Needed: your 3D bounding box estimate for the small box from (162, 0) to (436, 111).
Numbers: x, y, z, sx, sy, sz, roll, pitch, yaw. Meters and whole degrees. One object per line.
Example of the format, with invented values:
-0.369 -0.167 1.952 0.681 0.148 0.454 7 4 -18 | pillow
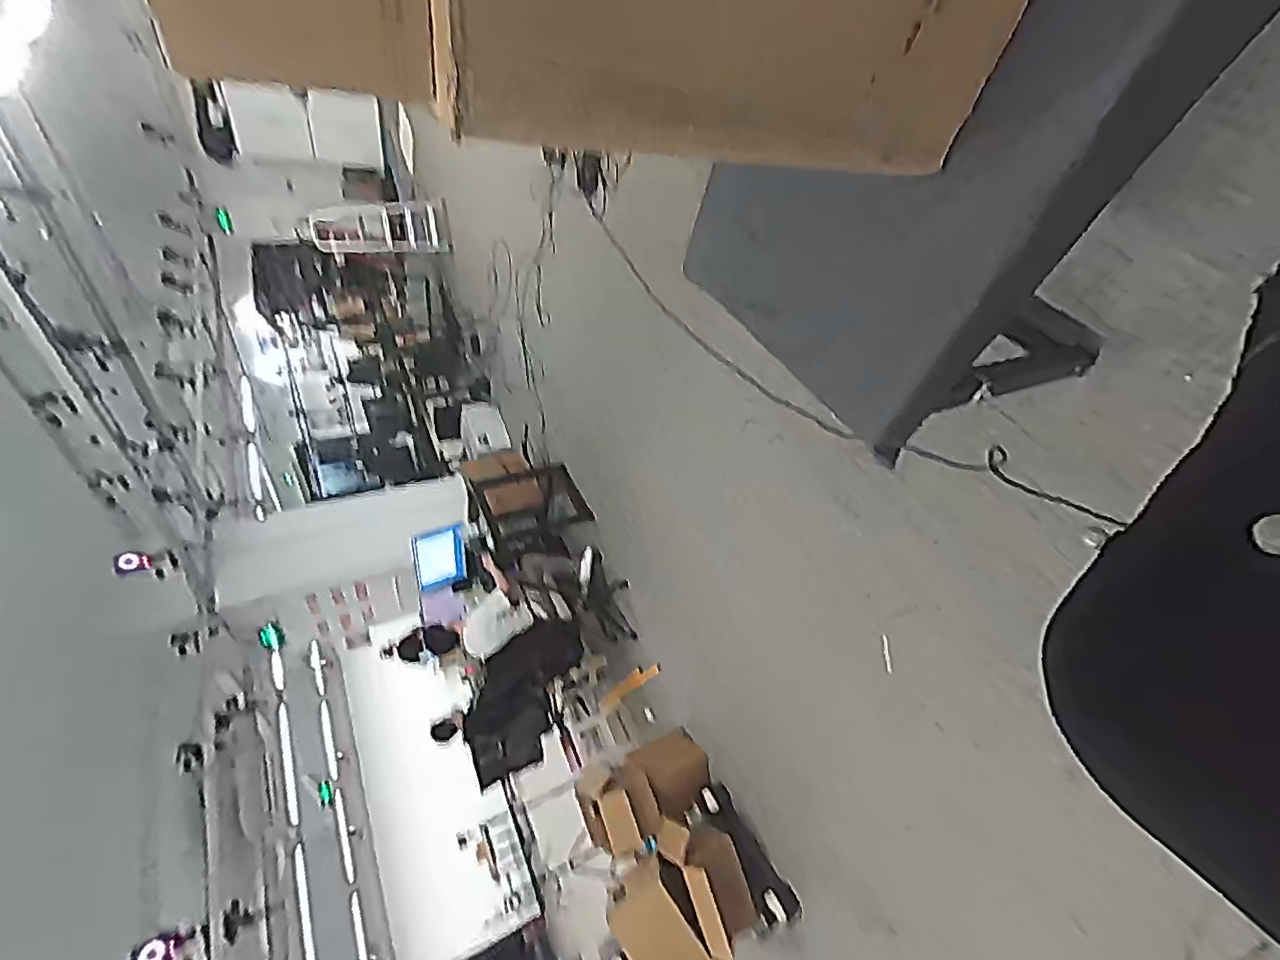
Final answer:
-0.252 -0.384 0.390 0.179 0.176 0.168 52 144 36 | small box
